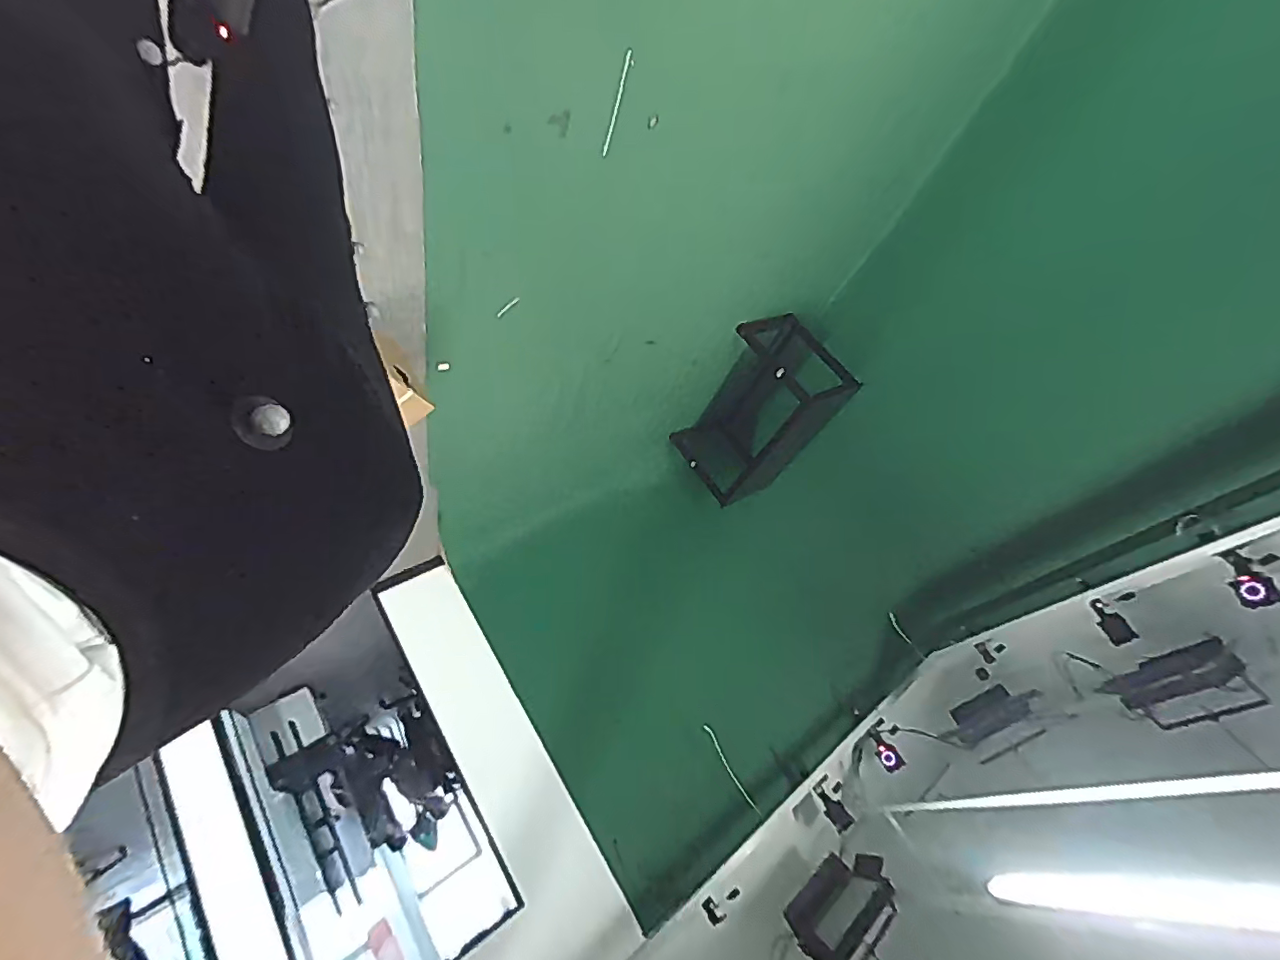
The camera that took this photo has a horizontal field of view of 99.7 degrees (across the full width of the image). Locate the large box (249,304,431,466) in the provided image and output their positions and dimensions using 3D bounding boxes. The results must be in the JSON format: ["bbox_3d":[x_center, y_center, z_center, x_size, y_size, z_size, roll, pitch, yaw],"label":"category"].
[{"bbox_3d":[-1.032,-0.320,1.880,0.408,0.320,0.320,-37,162,0],"label":"large box"}]
